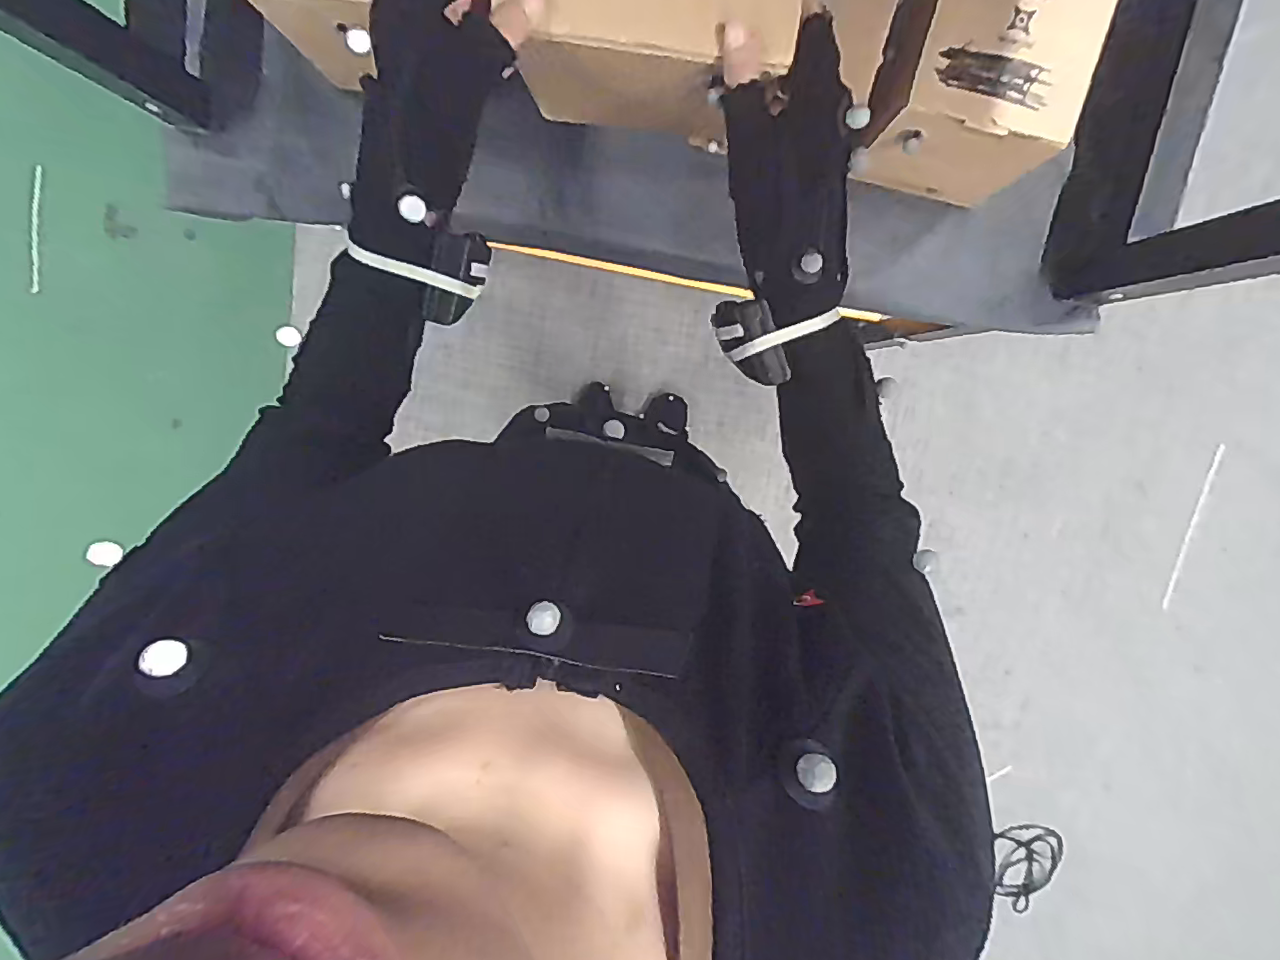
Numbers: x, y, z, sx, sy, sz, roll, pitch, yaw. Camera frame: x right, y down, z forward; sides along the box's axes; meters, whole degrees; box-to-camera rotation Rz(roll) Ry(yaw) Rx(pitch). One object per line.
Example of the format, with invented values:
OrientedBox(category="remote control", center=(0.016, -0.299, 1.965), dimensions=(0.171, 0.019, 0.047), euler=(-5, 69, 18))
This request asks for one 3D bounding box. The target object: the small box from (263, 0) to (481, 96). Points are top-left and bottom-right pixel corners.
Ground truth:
OrientedBox(category="small box", center=(-0.282, -0.544, 0.574), dimensions=(0.179, 0.176, 0.168), euler=(5, 100, -1))
